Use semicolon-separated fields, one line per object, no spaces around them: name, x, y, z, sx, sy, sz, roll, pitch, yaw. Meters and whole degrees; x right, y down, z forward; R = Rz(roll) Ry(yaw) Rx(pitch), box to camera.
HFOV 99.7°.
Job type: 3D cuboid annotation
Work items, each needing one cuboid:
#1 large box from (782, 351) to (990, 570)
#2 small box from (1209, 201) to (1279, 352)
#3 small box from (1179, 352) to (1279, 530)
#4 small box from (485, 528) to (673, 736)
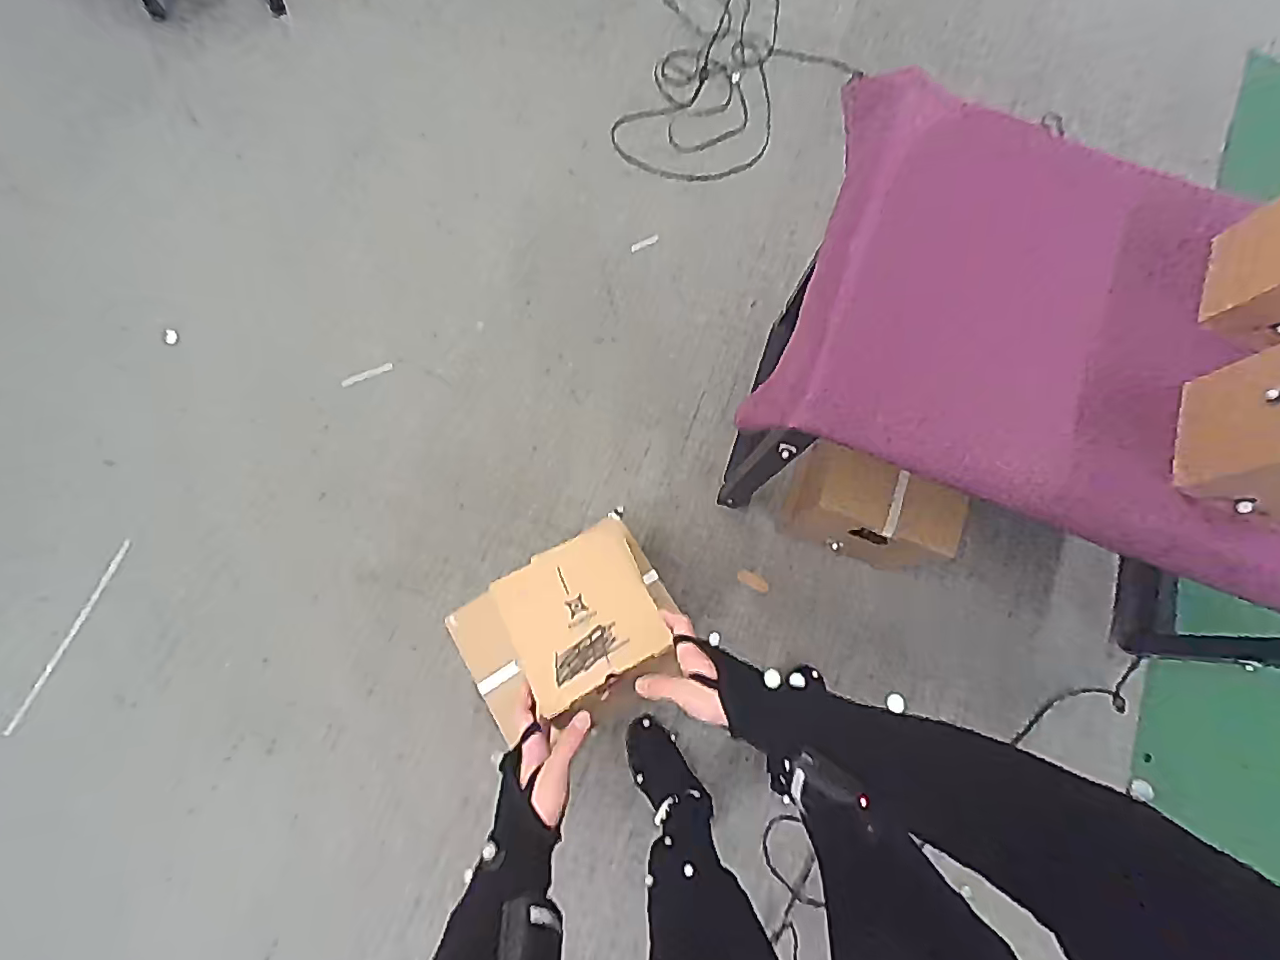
large box;0.585;-0.029;1.334;0.320;0.320;0.408;21;75;2
small box;0.946;-0.296;0.737;0.168;0.176;0.179;23;77;3
small box;0.832;-0.055;0.669;0.168;0.176;0.179;23;75;4
small box;-0.067;0.197;0.677;0.168;0.176;0.179;-26;58;-12
